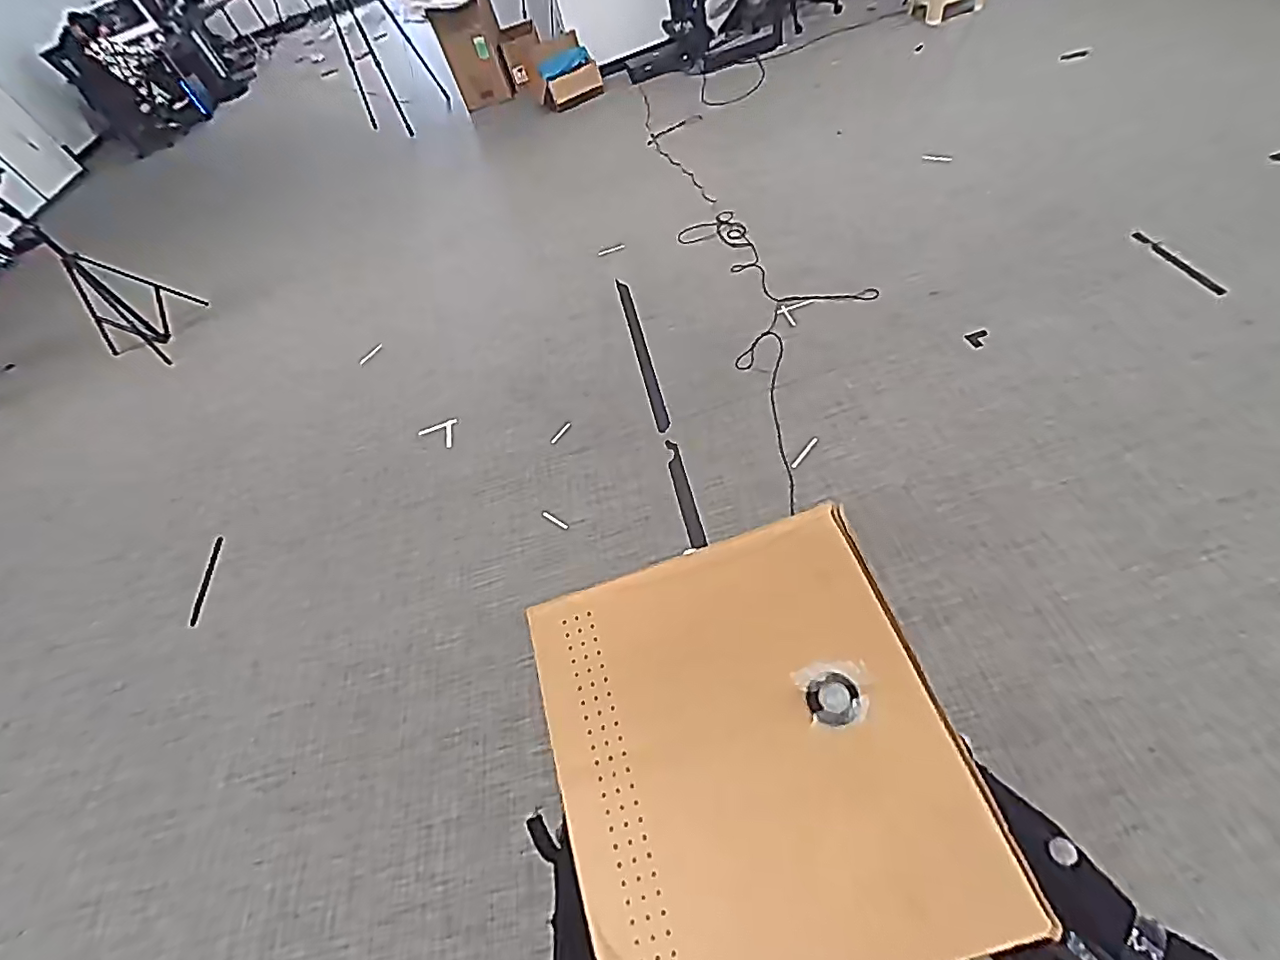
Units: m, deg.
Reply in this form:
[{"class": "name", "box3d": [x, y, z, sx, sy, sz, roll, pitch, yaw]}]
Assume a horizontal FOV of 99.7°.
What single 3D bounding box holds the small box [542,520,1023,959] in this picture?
[{"class": "small box", "box3d": [0.056, 0.153, 0.312, 0.176, 0.168, 0.179, -20, 62, 3]}]
